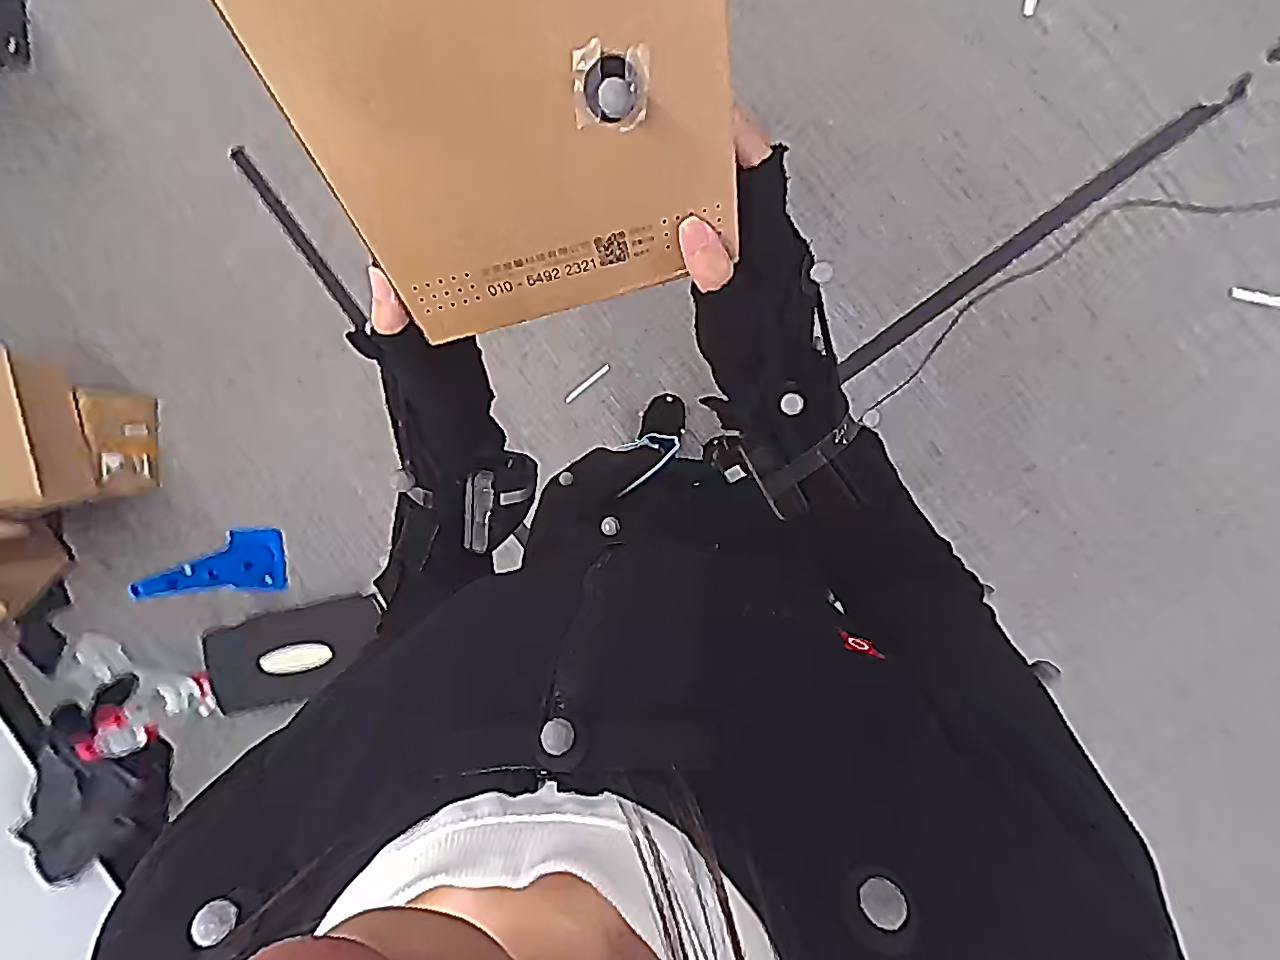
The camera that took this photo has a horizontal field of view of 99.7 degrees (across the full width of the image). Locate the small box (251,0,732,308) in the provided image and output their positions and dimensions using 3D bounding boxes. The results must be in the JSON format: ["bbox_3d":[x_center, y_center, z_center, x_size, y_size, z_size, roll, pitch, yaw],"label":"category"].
[{"bbox_3d":[-0.052,-0.209,0.280,0.168,0.176,0.179,-12,53,3],"label":"small box"}]
